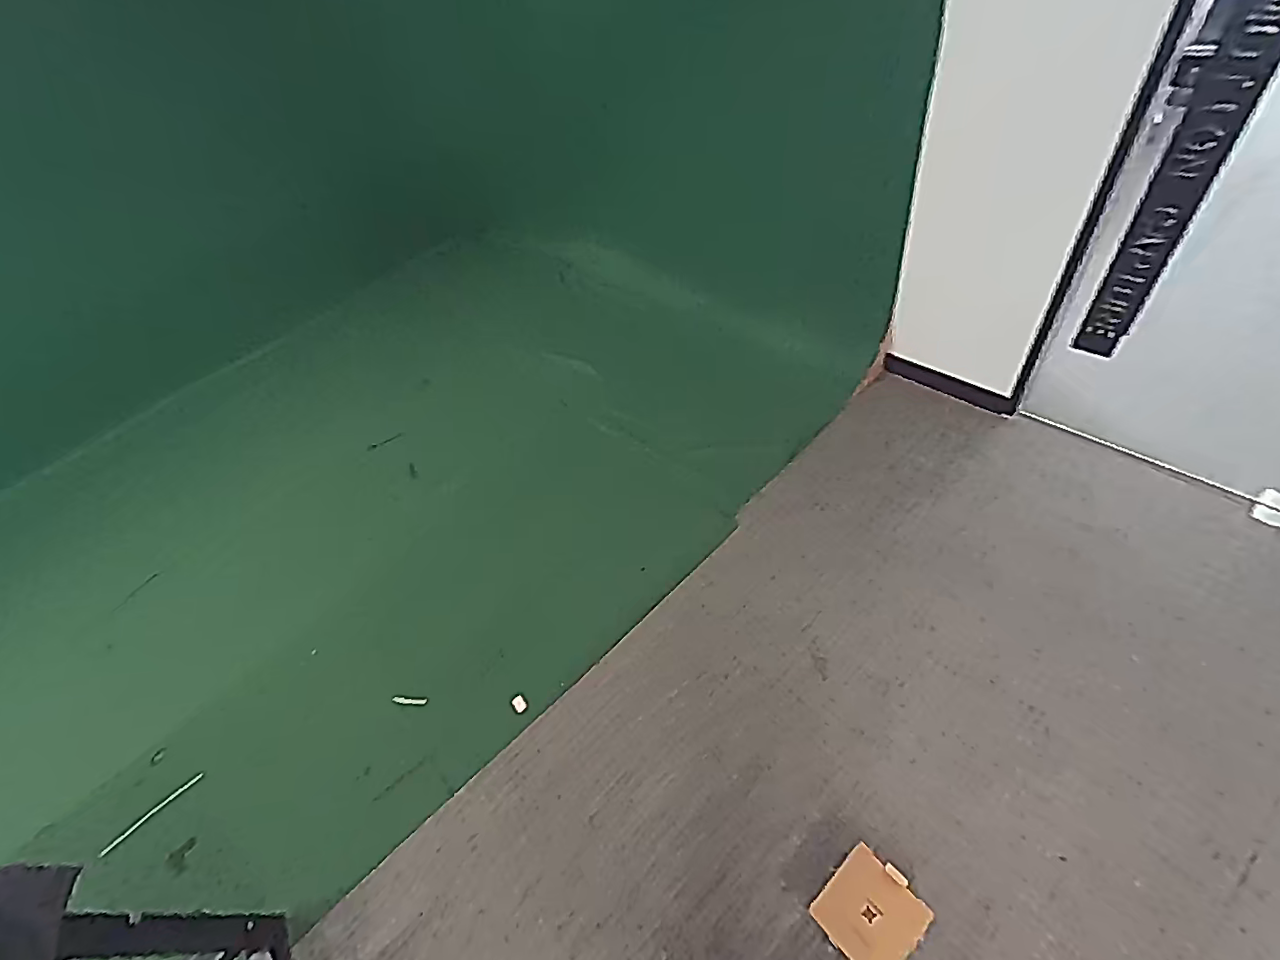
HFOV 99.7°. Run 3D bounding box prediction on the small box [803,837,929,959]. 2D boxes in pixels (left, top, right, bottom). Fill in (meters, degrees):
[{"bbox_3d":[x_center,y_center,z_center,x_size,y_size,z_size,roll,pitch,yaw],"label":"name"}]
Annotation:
[{"bbox_3d":[0.451,0.880,1.109,0.179,0.176,0.168,-38,50,-16],"label":"small box"}]
